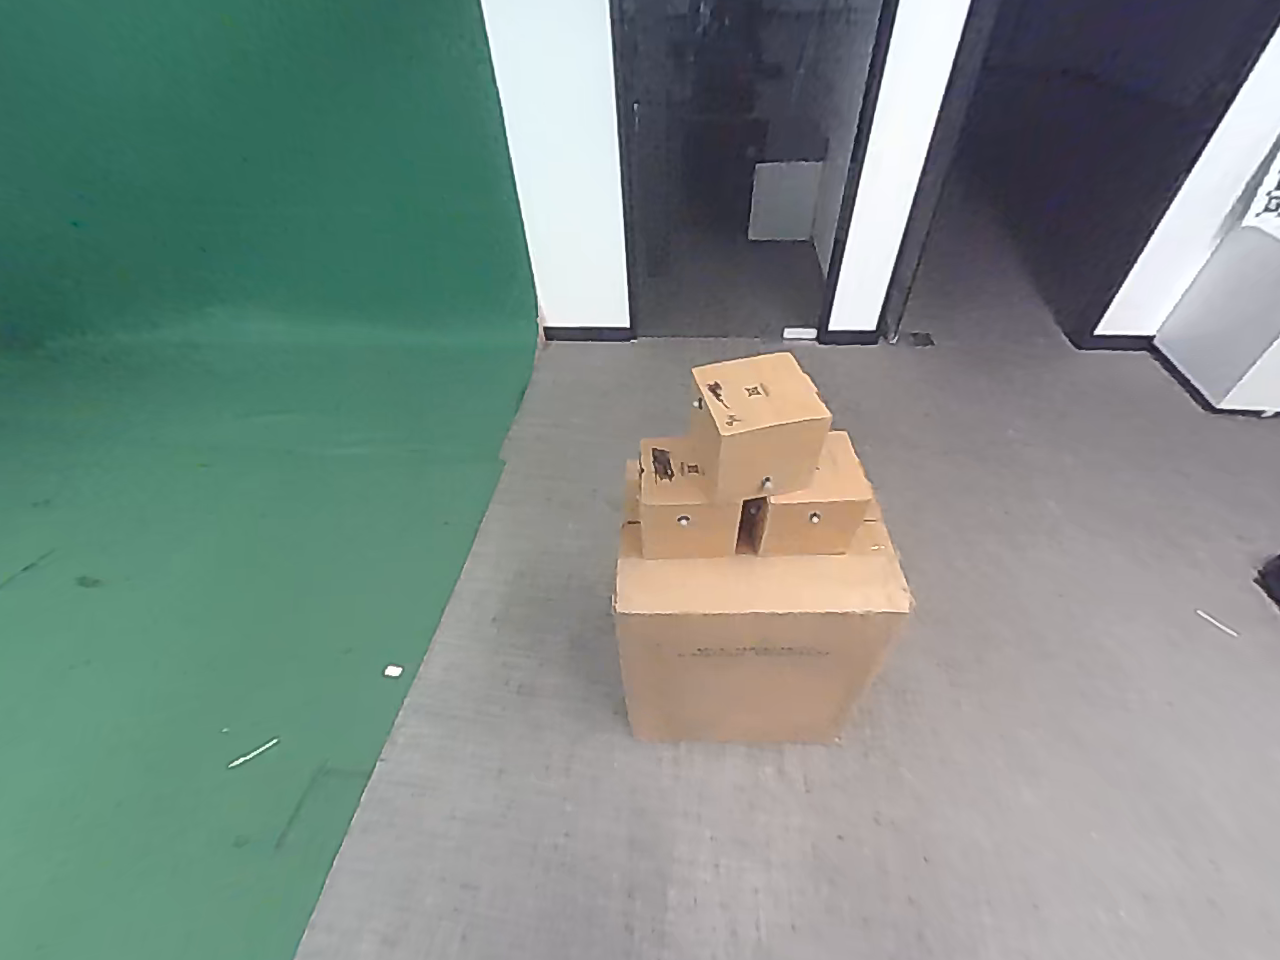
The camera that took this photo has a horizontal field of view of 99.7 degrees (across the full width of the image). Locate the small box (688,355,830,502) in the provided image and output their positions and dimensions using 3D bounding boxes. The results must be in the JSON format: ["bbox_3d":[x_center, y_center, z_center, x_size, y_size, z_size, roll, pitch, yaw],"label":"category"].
[{"bbox_3d":[0.188,-0.085,0.912,0.179,0.176,0.168,-10,49,-7],"label":"small box"}]

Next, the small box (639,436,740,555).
[{"bbox_3d":[0.090,0.032,1.032,0.179,0.176,0.168,-1,49,1],"label":"small box"}]
